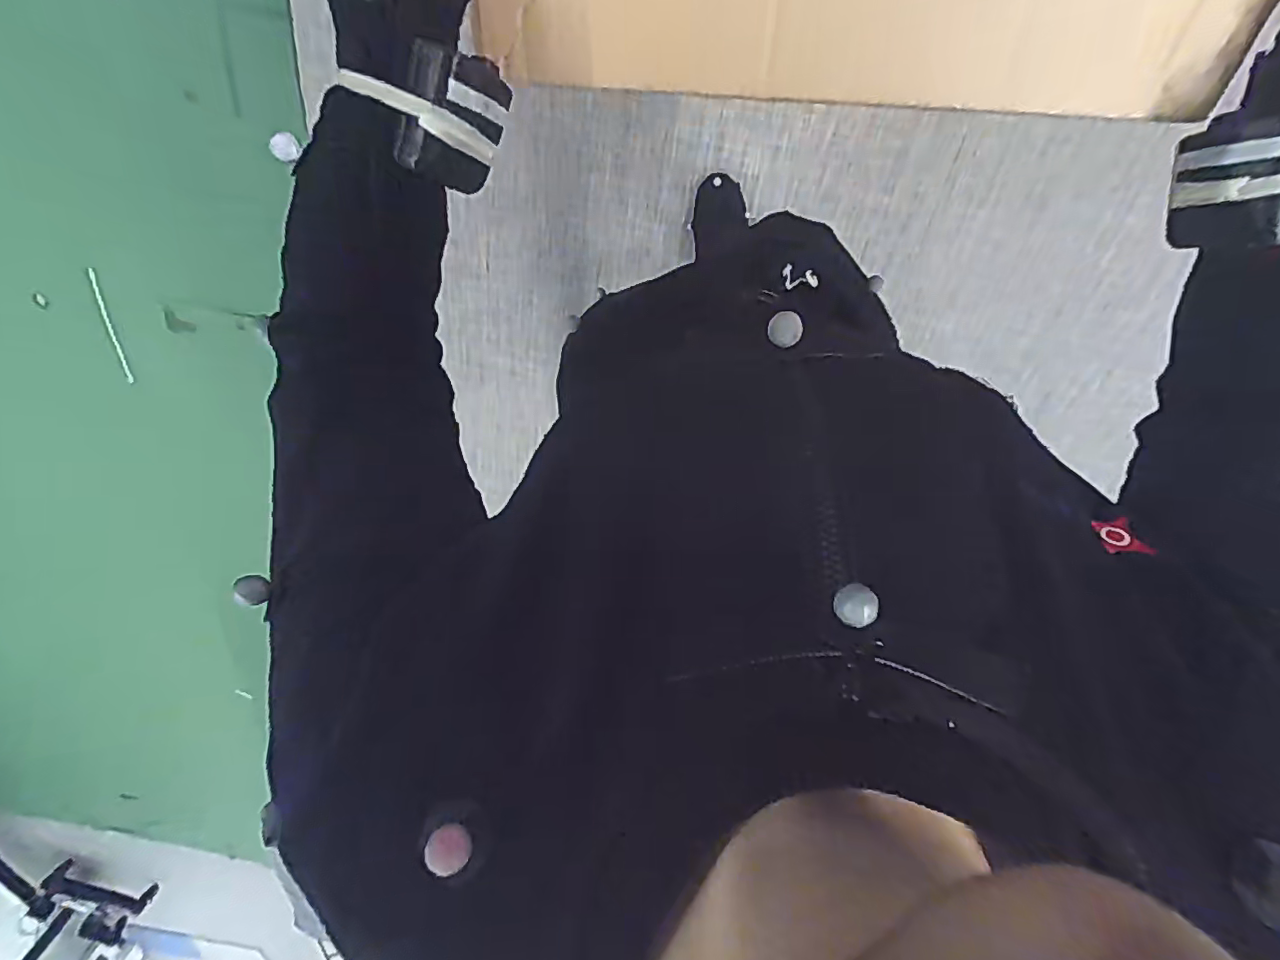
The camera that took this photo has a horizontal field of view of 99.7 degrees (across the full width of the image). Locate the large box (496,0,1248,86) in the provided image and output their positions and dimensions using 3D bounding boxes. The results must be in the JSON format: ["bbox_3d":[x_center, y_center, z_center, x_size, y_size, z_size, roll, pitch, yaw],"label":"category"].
[{"bbox_3d":[0.129,-0.444,0.330,0.408,0.320,0.320,5,130,3],"label":"large box"}]
